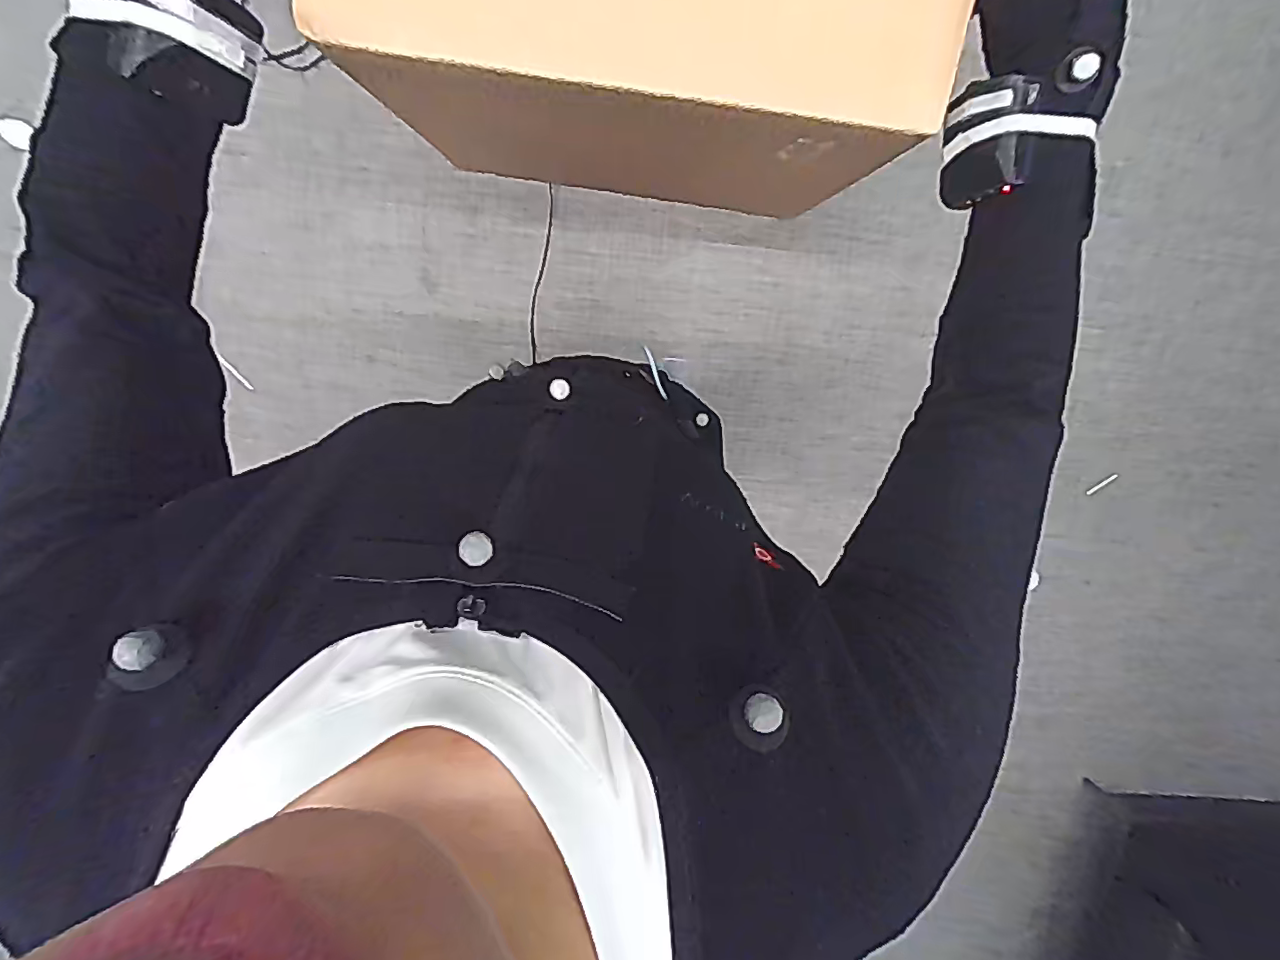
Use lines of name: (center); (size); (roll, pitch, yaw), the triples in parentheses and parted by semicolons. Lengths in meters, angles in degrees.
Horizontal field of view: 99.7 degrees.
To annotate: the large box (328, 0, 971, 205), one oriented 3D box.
large box: (0.015, -0.445, 0.443); (0.408, 0.320, 0.320); (6, 107, -4)
